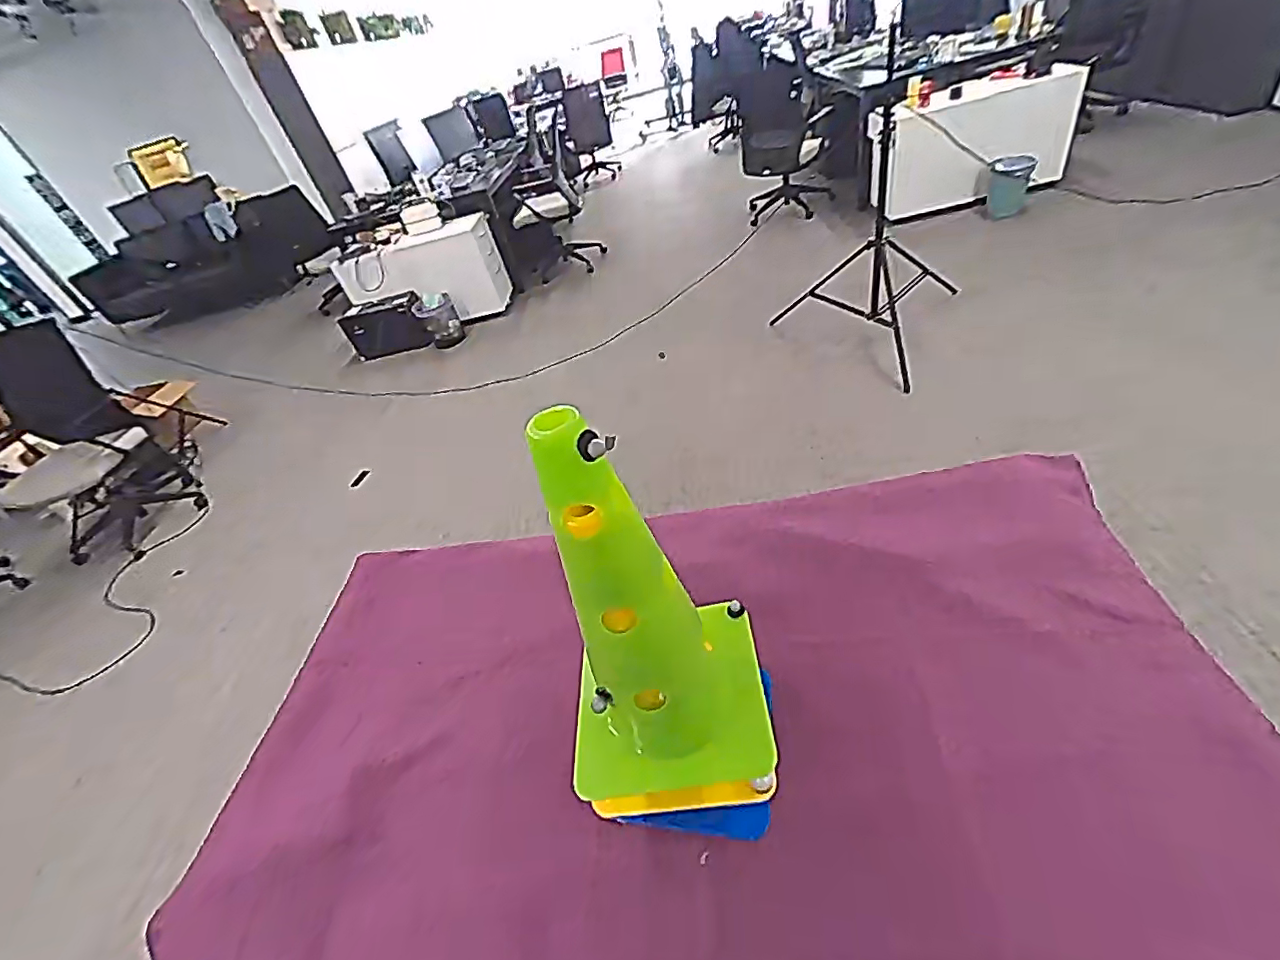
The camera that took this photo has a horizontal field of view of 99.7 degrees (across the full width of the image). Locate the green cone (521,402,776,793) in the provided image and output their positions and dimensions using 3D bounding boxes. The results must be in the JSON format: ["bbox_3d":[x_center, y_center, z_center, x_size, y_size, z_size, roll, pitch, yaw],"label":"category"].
[{"bbox_3d":[-0.017,0.089,0.473,0.200,0.368,0.202,-14,38,8],"label":"green cone"}]
